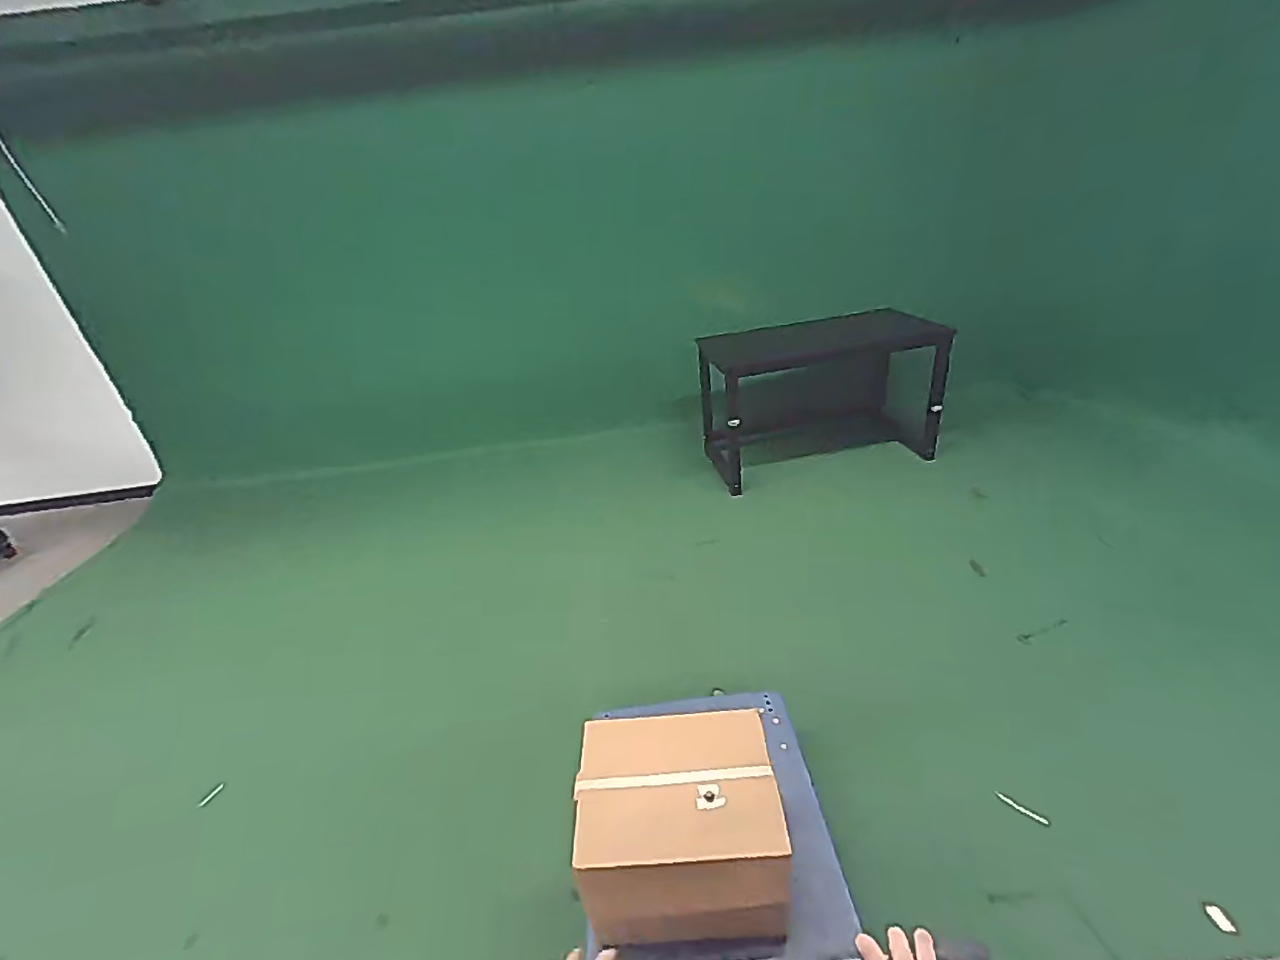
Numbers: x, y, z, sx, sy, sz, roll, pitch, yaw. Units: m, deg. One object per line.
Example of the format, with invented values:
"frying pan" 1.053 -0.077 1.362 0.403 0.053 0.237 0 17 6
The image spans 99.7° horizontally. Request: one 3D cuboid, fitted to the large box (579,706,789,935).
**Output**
"large box" 0.091 0.749 1.206 0.408 0.320 0.320 -5 29 2
